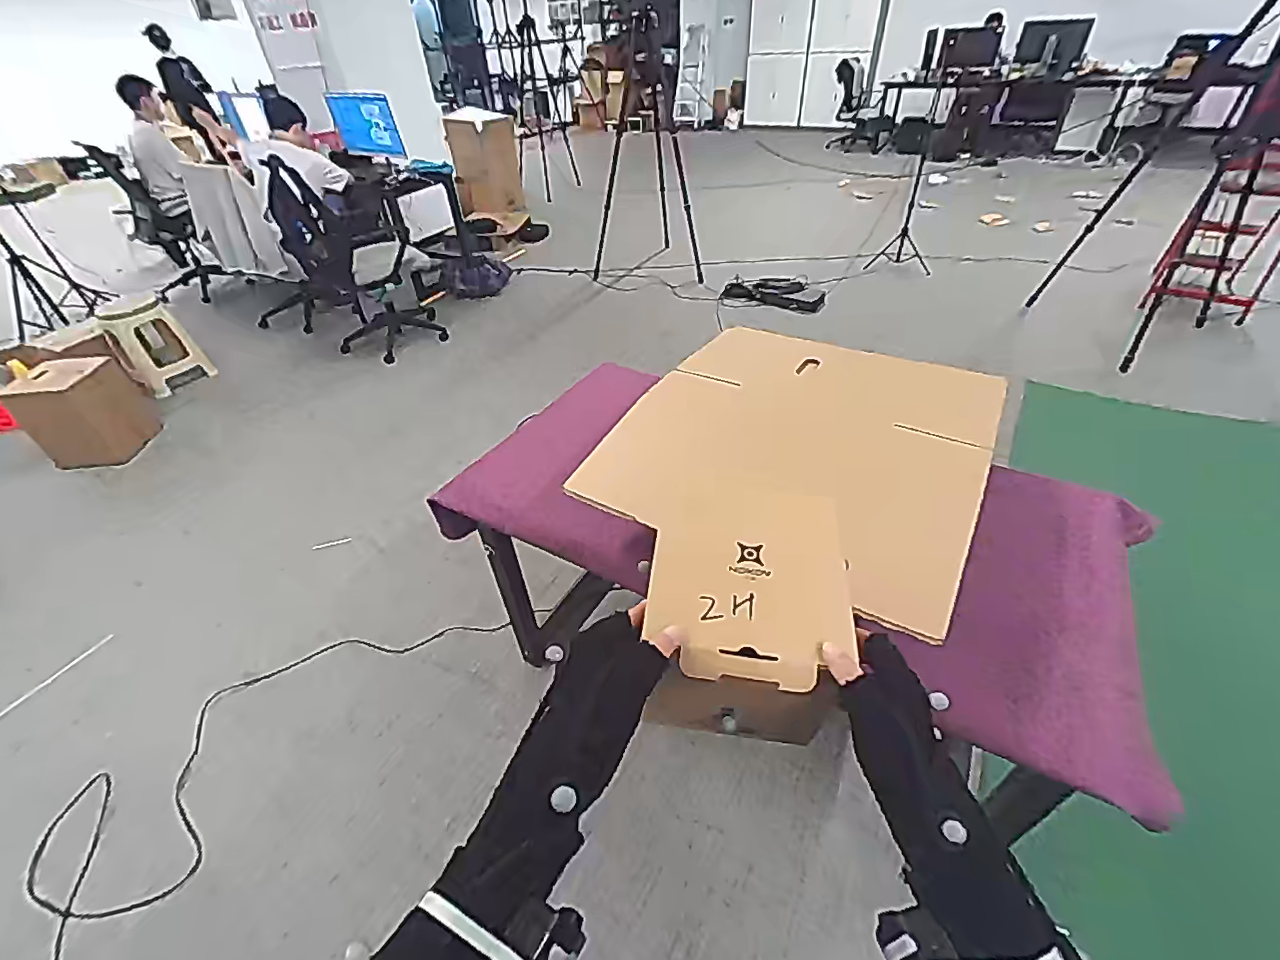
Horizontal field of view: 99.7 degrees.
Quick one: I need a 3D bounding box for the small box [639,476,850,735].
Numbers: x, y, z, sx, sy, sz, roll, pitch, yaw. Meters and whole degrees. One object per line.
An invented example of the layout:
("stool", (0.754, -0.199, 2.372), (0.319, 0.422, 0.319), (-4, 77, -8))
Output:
("small box", (0.091, 0.123, 0.532), (0.168, 0.176, 0.179), (6, 47, 6))
